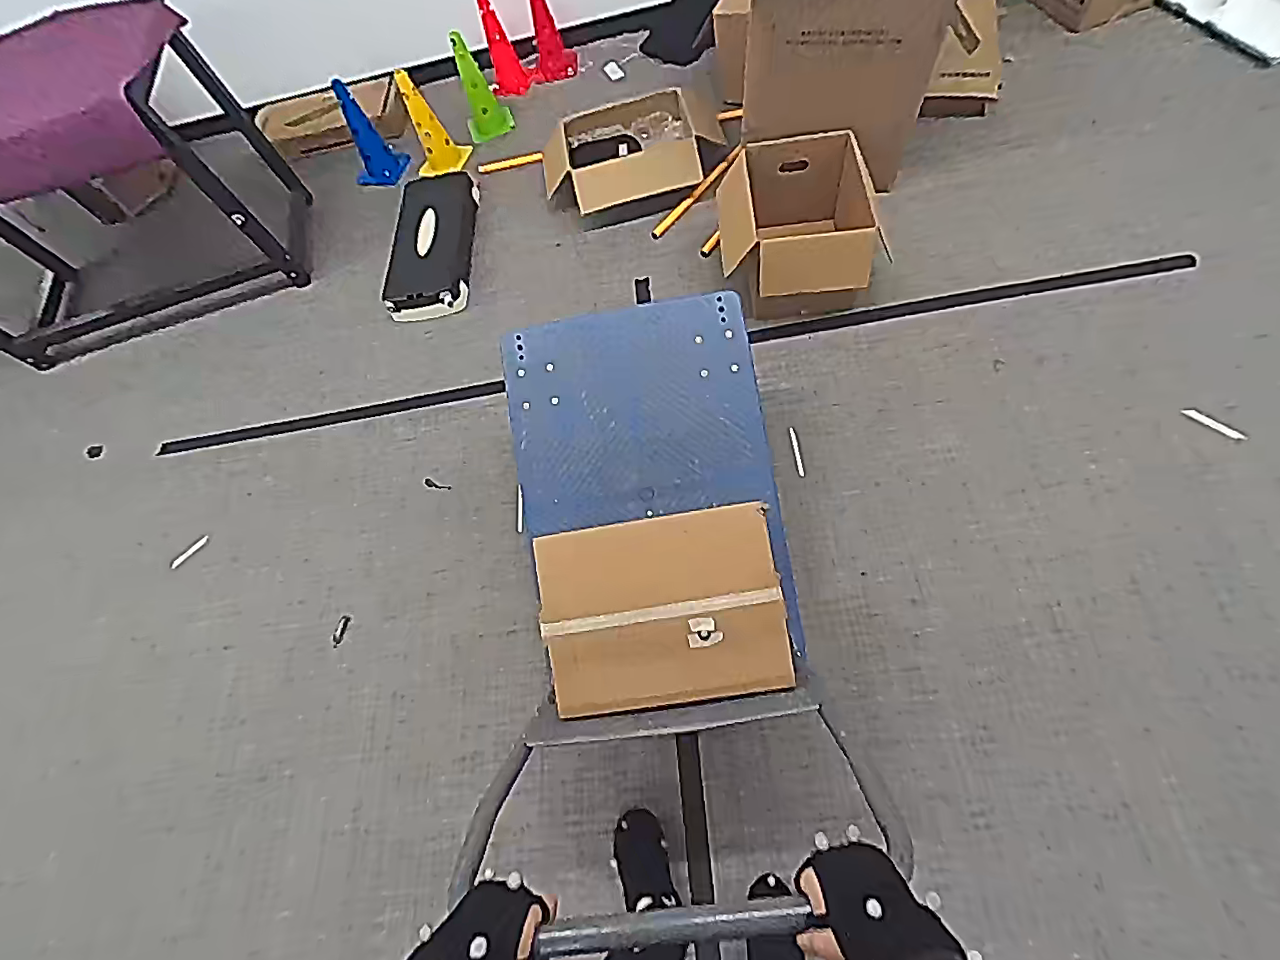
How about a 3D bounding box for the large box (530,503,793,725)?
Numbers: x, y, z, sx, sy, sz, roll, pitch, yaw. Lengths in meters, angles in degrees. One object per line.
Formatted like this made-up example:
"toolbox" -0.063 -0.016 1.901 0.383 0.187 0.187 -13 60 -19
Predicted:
"large box" 0.040 0.237 1.056 0.408 0.320 0.320 -10 86 3
